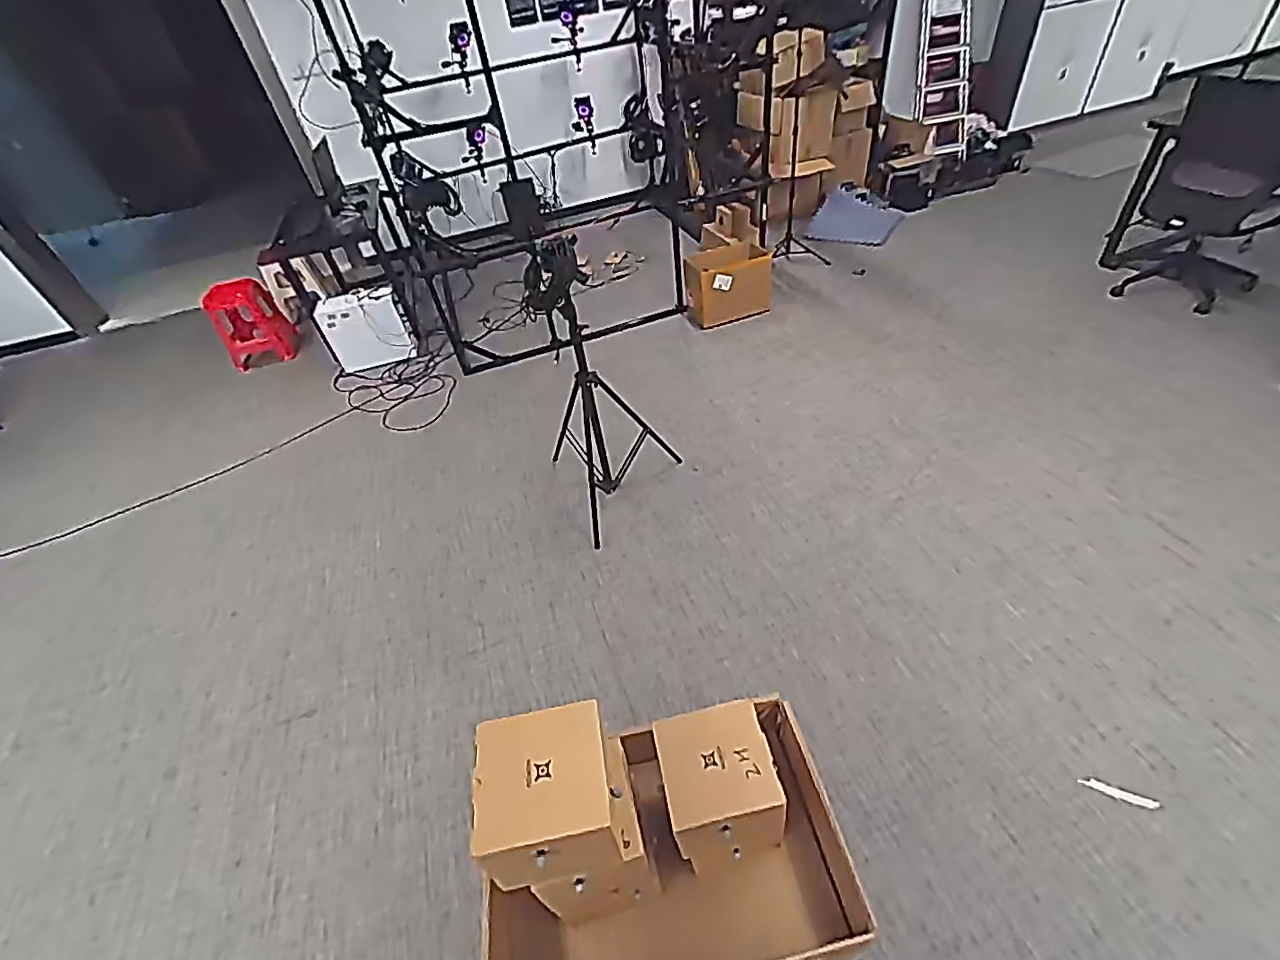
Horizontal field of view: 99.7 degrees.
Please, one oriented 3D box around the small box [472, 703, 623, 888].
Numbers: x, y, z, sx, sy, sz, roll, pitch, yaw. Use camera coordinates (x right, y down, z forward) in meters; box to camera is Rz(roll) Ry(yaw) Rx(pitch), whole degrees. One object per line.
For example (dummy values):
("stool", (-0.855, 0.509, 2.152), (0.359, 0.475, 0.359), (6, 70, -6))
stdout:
("small box", (-0.123, 0.445, 0.763), (0.179, 0.176, 0.168), (-11, 42, -4))
